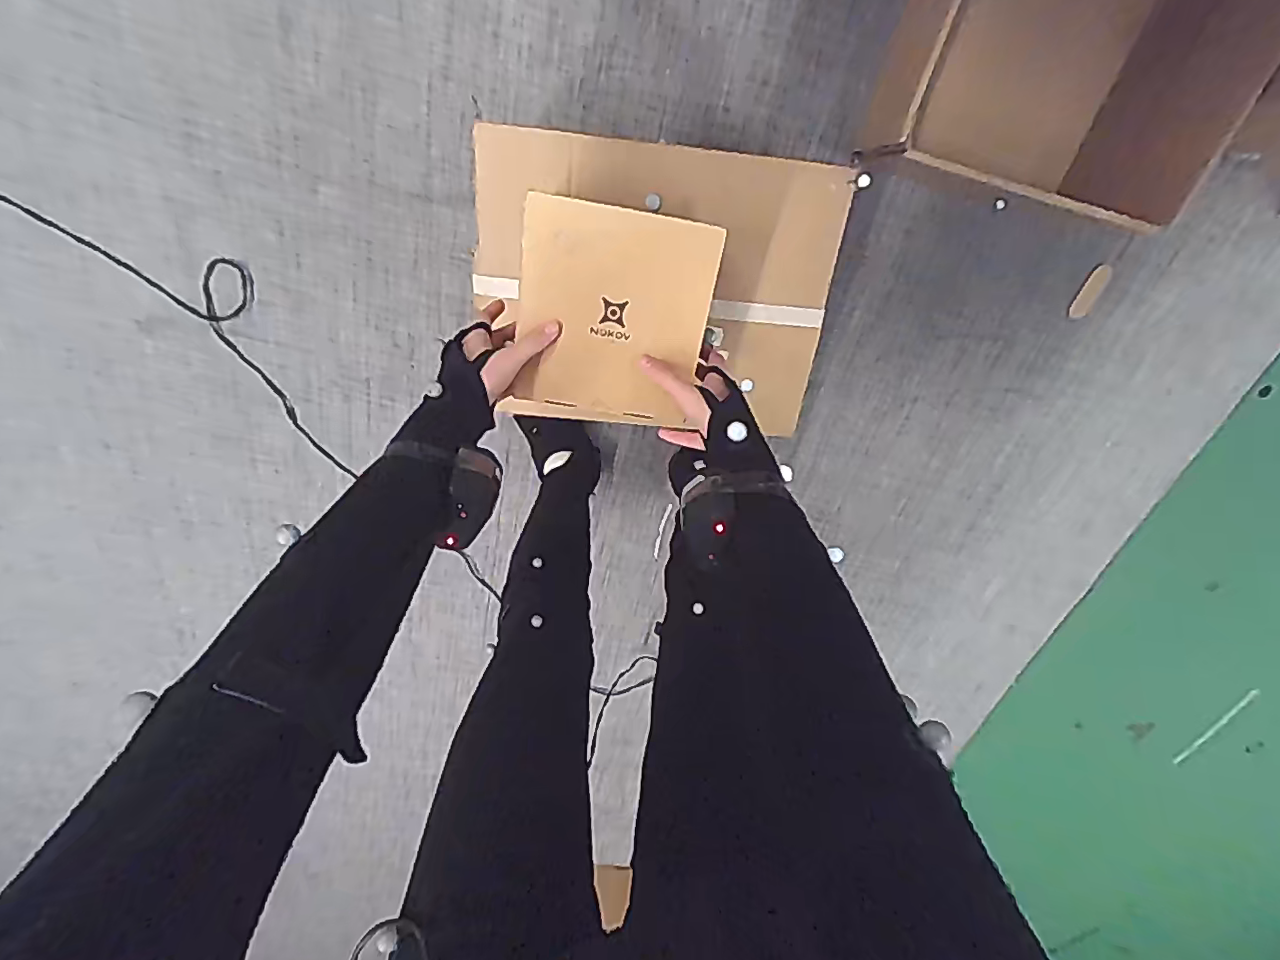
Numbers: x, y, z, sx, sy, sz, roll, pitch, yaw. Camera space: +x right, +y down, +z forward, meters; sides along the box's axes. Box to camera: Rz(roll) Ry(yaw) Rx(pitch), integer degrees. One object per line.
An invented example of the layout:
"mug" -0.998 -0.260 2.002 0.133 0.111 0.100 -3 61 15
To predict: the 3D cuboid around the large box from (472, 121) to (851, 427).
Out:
"large box" 0.008 -0.282 0.757 0.408 0.320 0.320 4 118 -4
